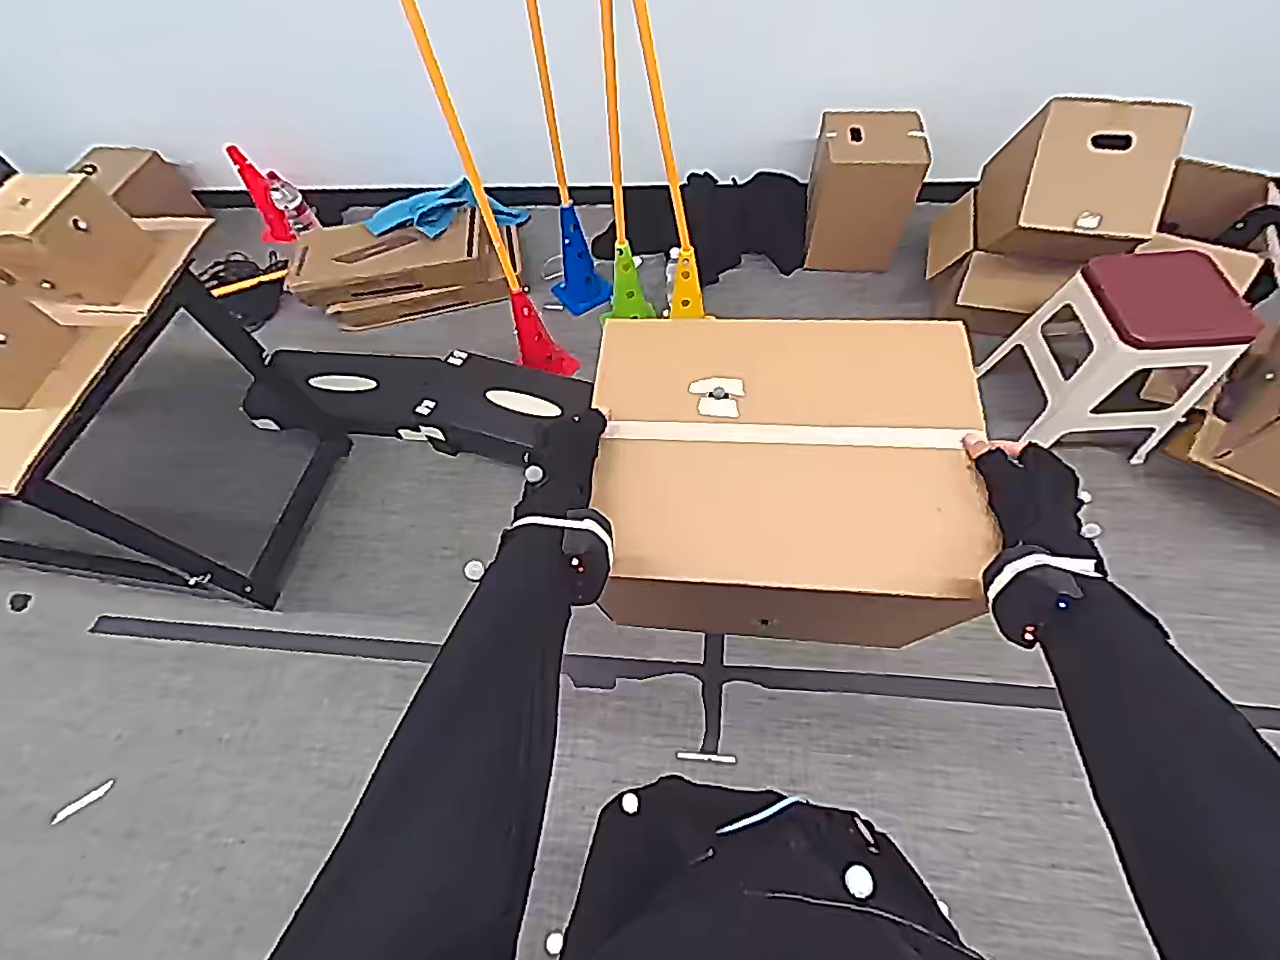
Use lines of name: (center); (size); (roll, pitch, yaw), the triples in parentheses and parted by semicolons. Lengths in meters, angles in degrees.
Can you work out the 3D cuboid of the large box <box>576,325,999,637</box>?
large box: (0.162, 0.020, 0.709); (0.408, 0.320, 0.320); (3, 65, 9)
